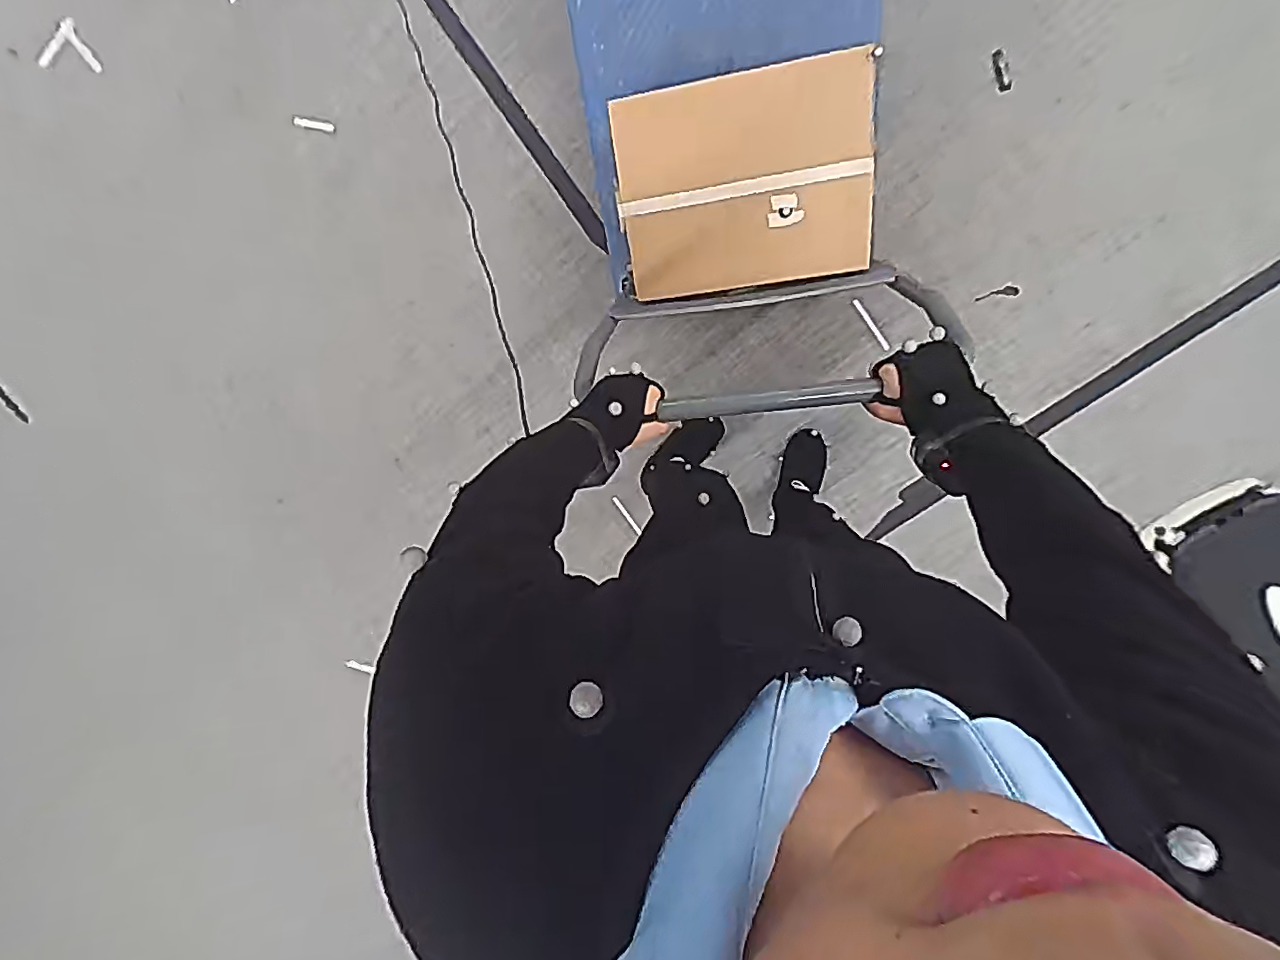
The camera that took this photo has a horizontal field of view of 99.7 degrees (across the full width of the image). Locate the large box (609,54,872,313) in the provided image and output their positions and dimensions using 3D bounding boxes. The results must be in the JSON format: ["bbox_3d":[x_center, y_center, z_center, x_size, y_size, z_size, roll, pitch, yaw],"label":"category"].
[{"bbox_3d":[0.184,-0.522,1.013,0.408,0.320,0.320,-6,115,10],"label":"large box"}]
